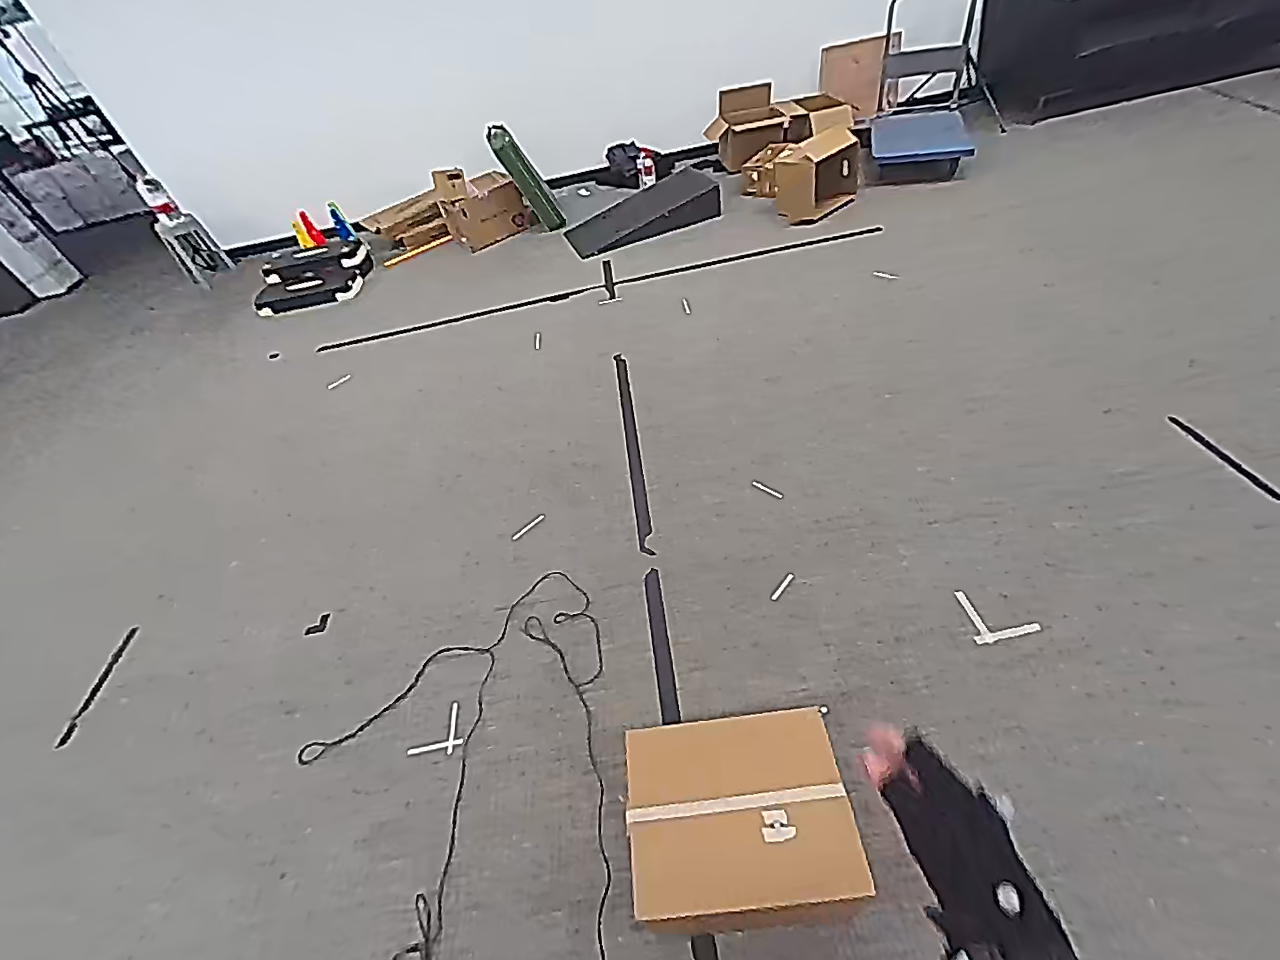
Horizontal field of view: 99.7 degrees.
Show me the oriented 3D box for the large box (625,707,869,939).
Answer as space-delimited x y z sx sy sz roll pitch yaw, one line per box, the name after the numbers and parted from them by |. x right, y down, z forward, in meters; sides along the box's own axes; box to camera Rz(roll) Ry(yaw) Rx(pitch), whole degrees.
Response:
0.194 0.709 1.114 0.408 0.320 0.320 -8 45 3 | large box
